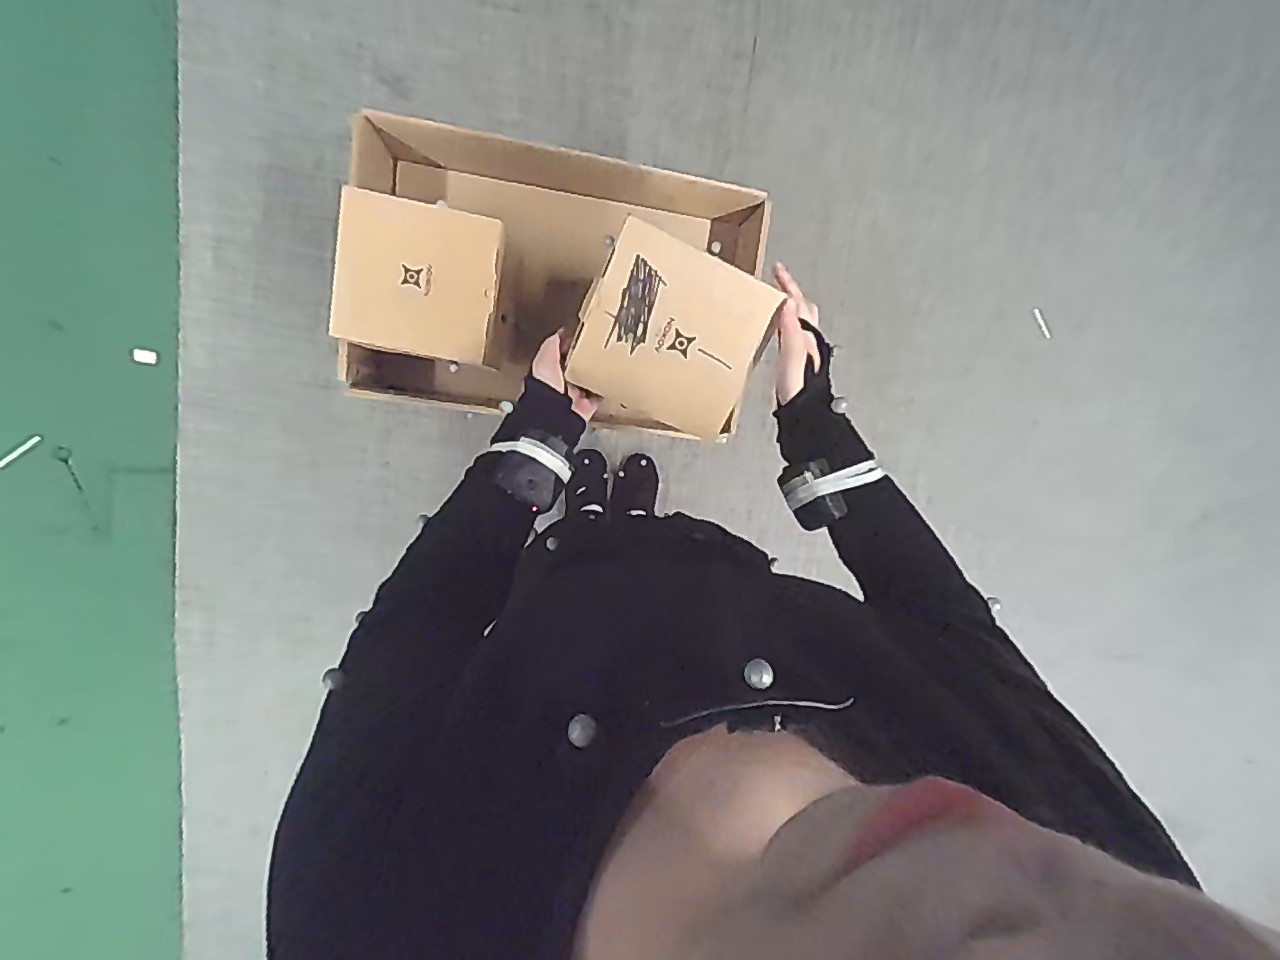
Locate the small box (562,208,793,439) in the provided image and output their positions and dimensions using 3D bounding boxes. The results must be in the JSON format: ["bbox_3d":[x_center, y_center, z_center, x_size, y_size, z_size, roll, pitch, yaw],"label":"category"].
[{"bbox_3d":[0.032,-0.173,0.593,0.179,0.176,0.168,22,113,-11],"label":"small box"}]

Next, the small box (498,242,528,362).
[{"bbox_3d":[-0.279,-0.284,0.850,0.179,0.176,0.168,8,98,-9],"label":"small box"}]

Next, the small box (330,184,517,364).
[{"bbox_3d":[-0.263,-0.245,0.692,0.179,0.176,0.168,9,98,-9],"label":"small box"}]
